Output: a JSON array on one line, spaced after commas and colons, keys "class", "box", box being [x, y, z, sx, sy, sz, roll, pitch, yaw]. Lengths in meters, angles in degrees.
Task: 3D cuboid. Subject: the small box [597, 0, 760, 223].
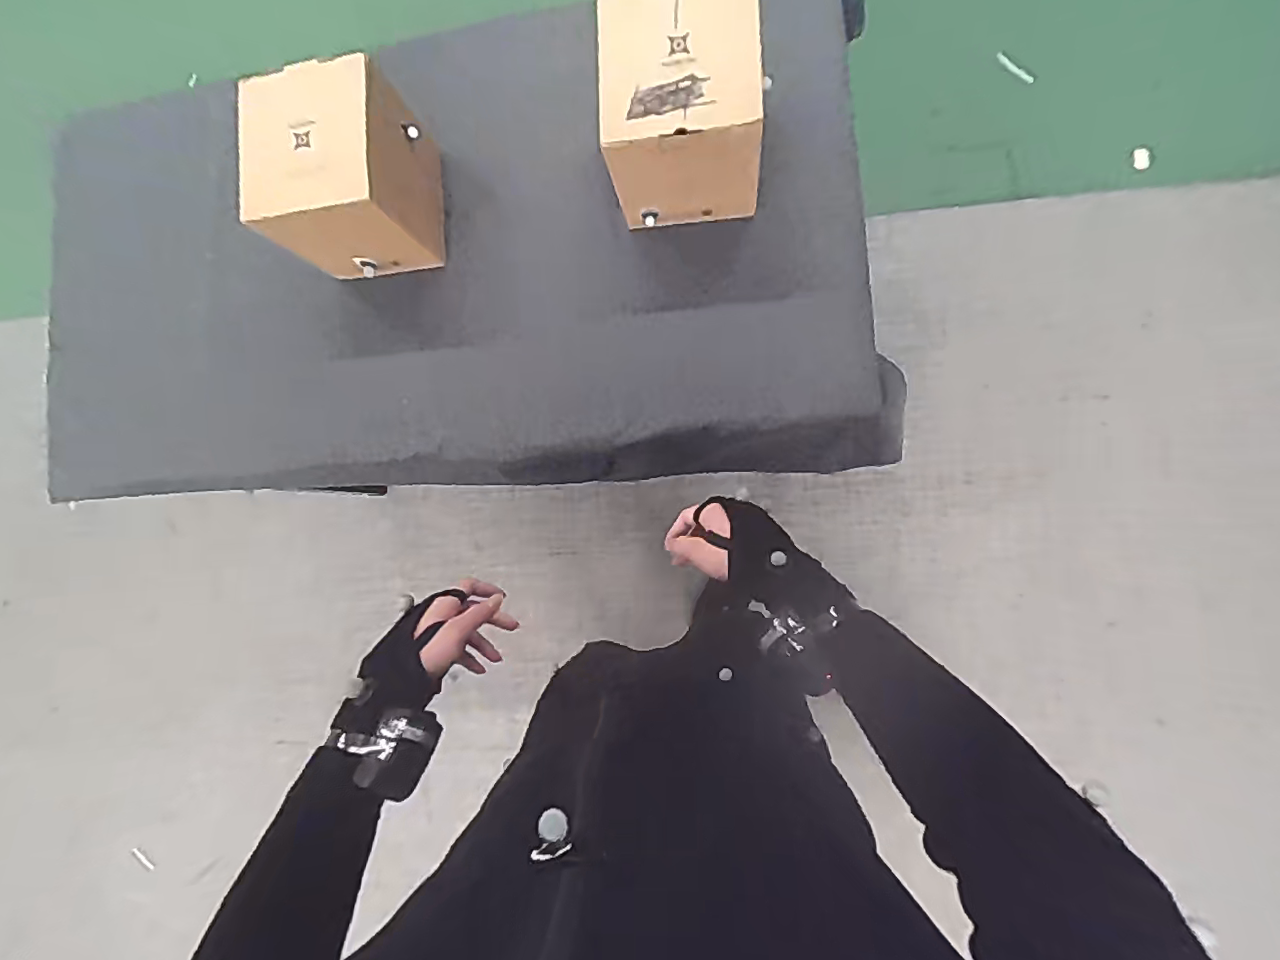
[{"class": "small box", "box": [0.050, -0.418, 0.623, 0.168, 0.176, 0.179, -2, 86, 9]}]

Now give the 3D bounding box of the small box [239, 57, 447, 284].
[{"class": "small box", "box": [-0.364, -0.374, 0.686, 0.168, 0.176, 0.179, -5, 87, 9]}]
